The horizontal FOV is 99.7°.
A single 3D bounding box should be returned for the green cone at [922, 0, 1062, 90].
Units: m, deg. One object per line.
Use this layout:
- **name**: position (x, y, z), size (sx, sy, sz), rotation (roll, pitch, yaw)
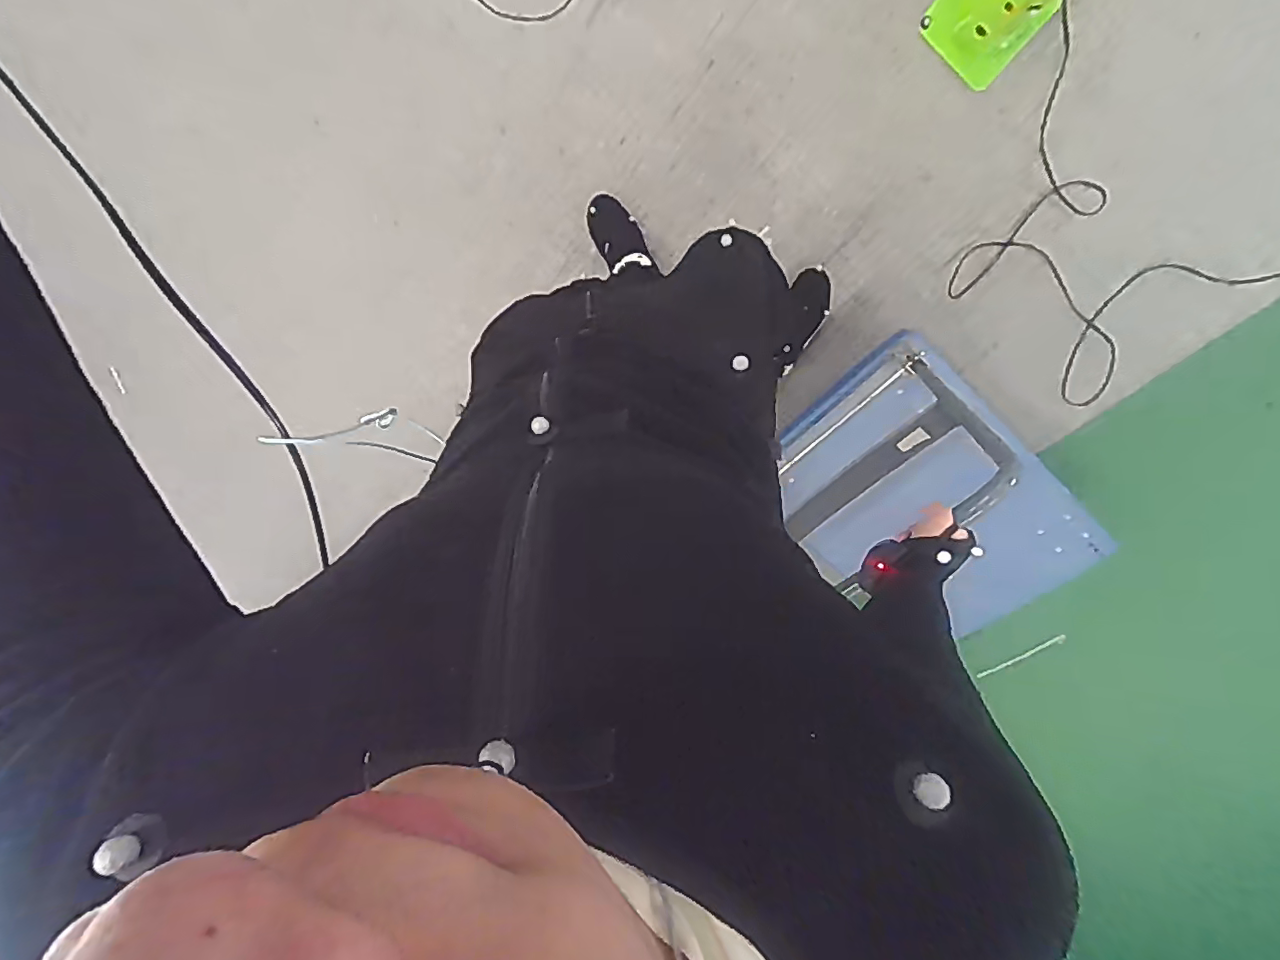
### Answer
- **green cone**: position (0.680, -0.853, 0.928), size (0.200, 0.368, 0.202), rotation (36, 117, -11)
